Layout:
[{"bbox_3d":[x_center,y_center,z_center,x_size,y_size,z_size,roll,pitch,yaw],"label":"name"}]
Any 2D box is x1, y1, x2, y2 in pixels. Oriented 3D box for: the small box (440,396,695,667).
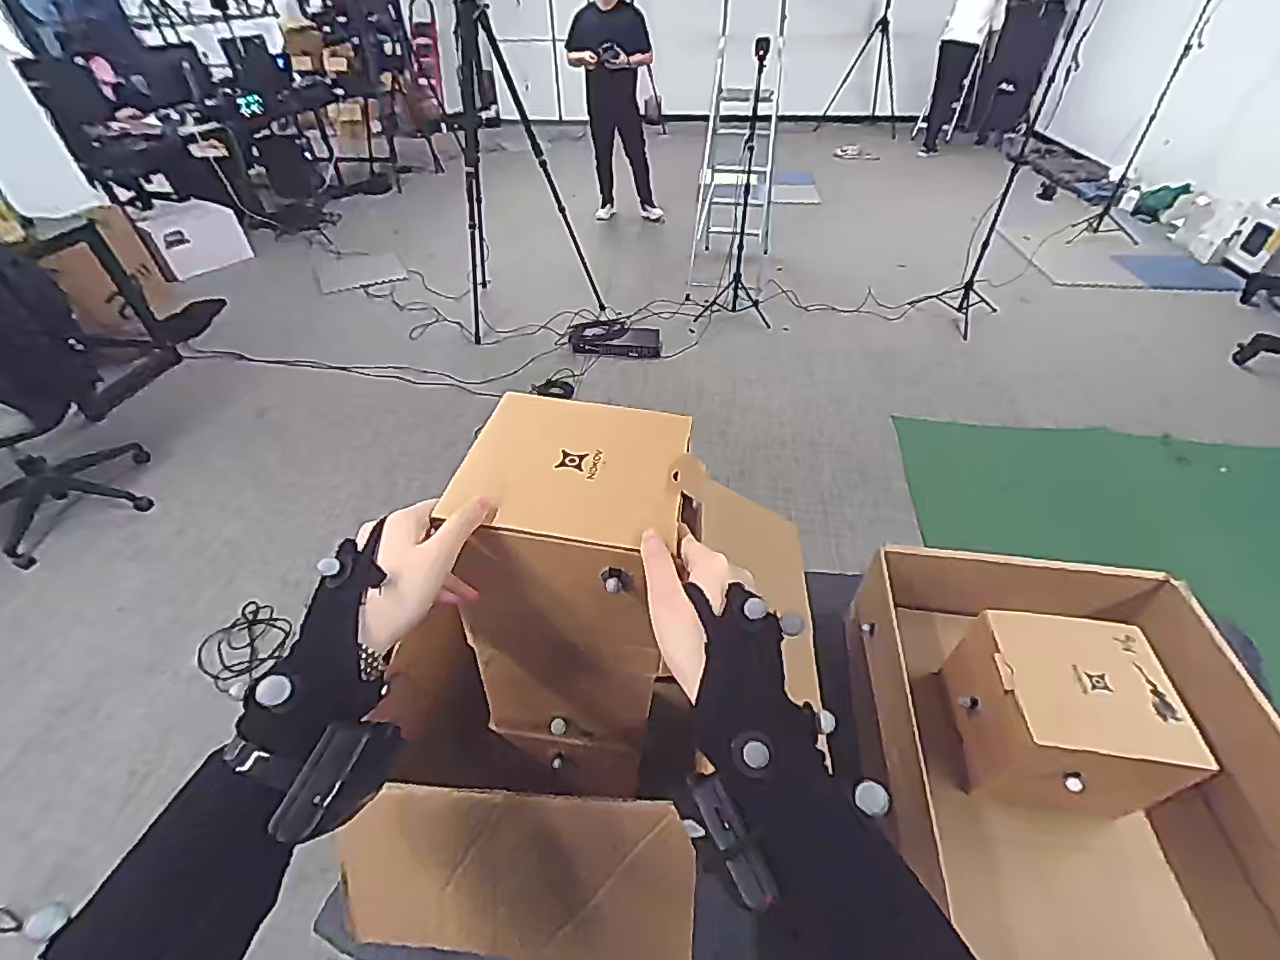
[{"bbox_3d":[-0.052,0.048,0.490,0.179,0.176,0.168,9,43,3],"label":"small box"}]
